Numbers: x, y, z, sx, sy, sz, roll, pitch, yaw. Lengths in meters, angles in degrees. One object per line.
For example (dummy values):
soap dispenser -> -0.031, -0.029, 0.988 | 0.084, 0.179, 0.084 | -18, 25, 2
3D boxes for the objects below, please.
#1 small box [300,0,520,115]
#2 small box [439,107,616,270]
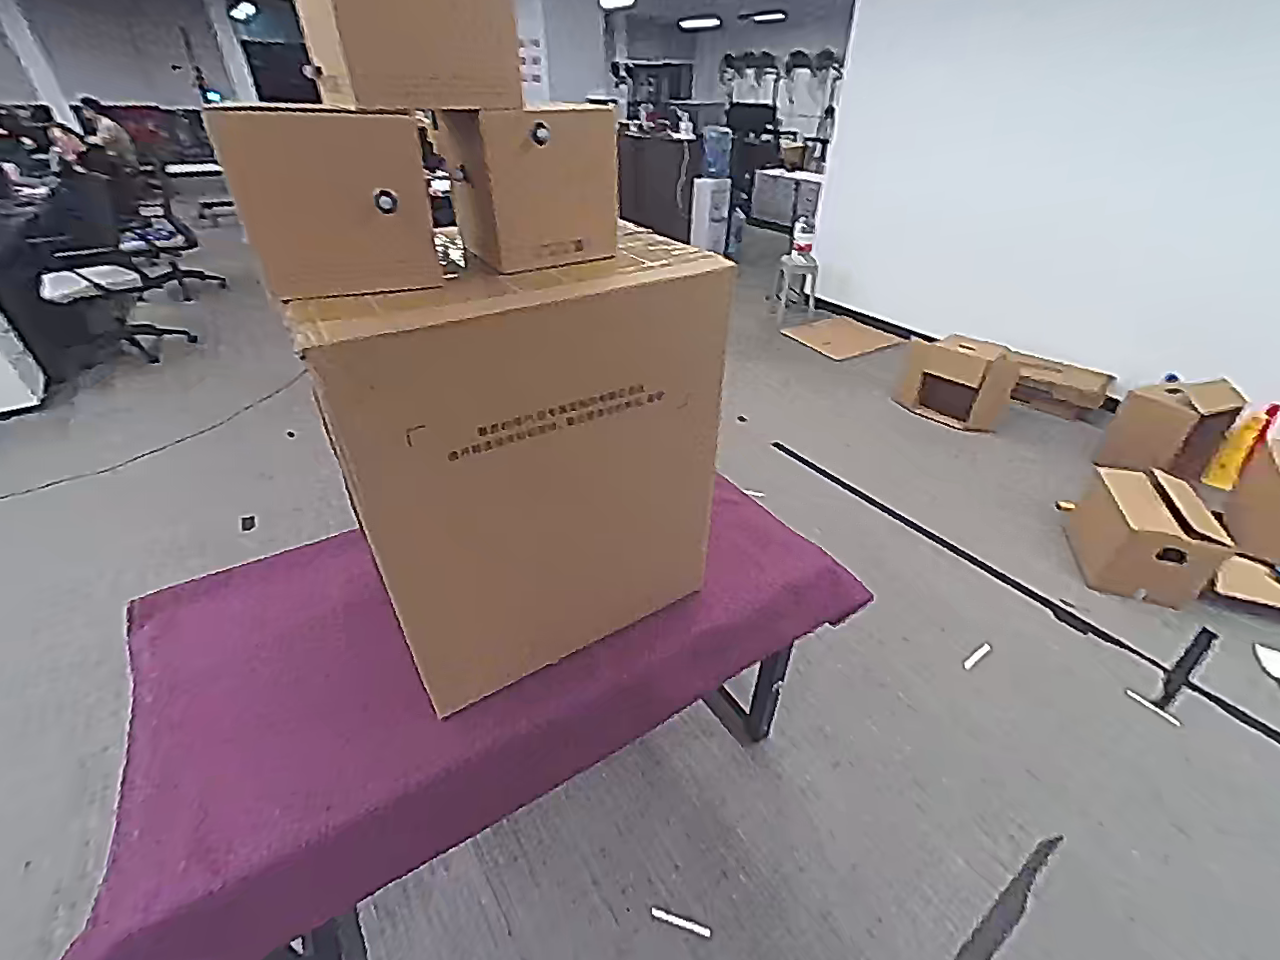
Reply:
small box -> -0.241, -0.480, 0.556 | 0.179, 0.176, 0.168 | -21, 41, -29
small box -> -0.143, -0.382, 0.704 | 0.168, 0.176, 0.179 | -21, 40, -25
